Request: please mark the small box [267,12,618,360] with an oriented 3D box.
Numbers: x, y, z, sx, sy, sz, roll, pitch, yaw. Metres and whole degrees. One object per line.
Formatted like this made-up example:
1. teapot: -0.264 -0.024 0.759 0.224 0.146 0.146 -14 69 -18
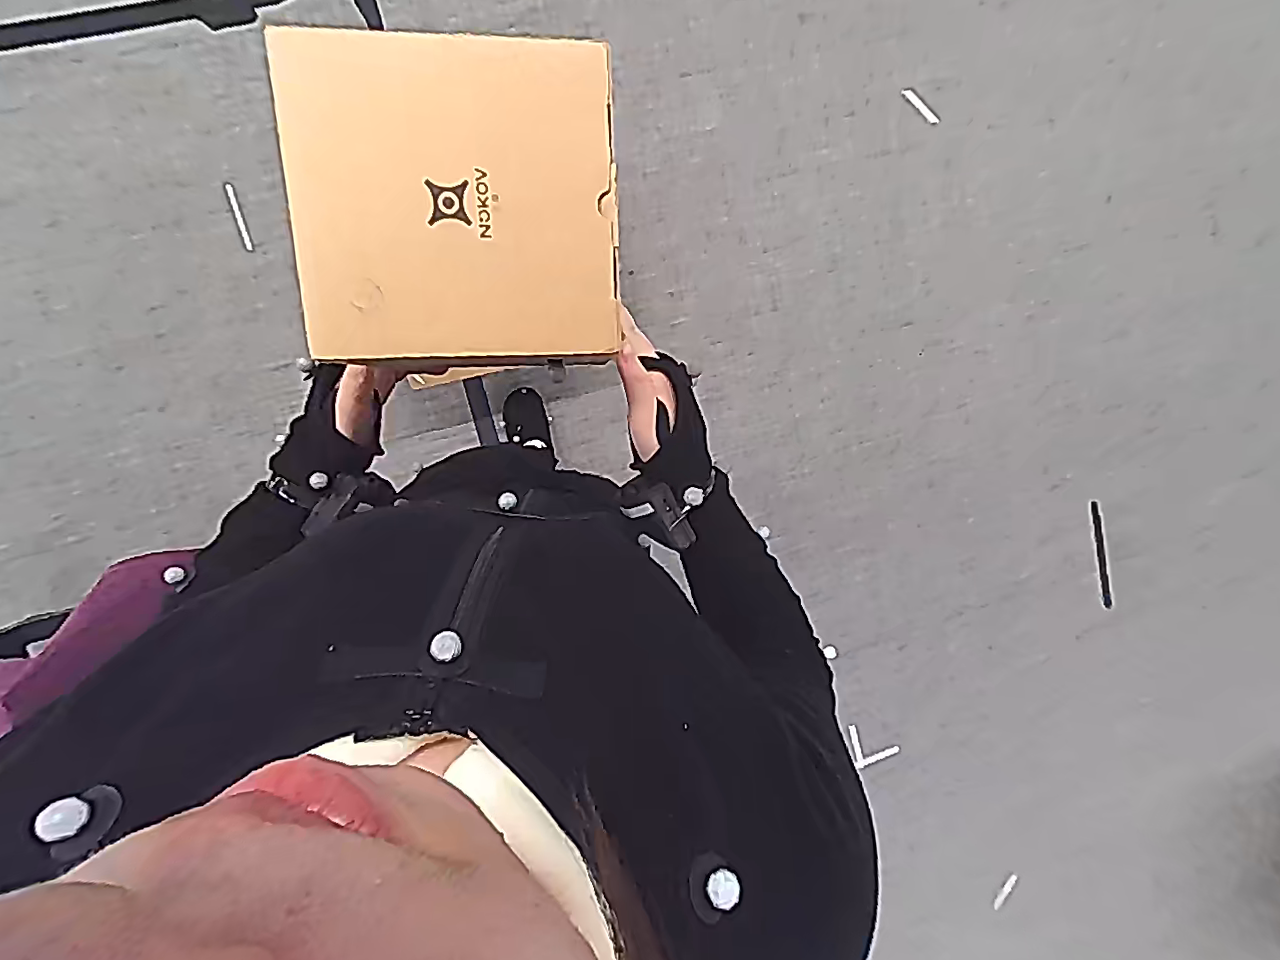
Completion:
1. small box: -0.110 -0.171 0.372 0.179 0.176 0.168 -3 101 -7
